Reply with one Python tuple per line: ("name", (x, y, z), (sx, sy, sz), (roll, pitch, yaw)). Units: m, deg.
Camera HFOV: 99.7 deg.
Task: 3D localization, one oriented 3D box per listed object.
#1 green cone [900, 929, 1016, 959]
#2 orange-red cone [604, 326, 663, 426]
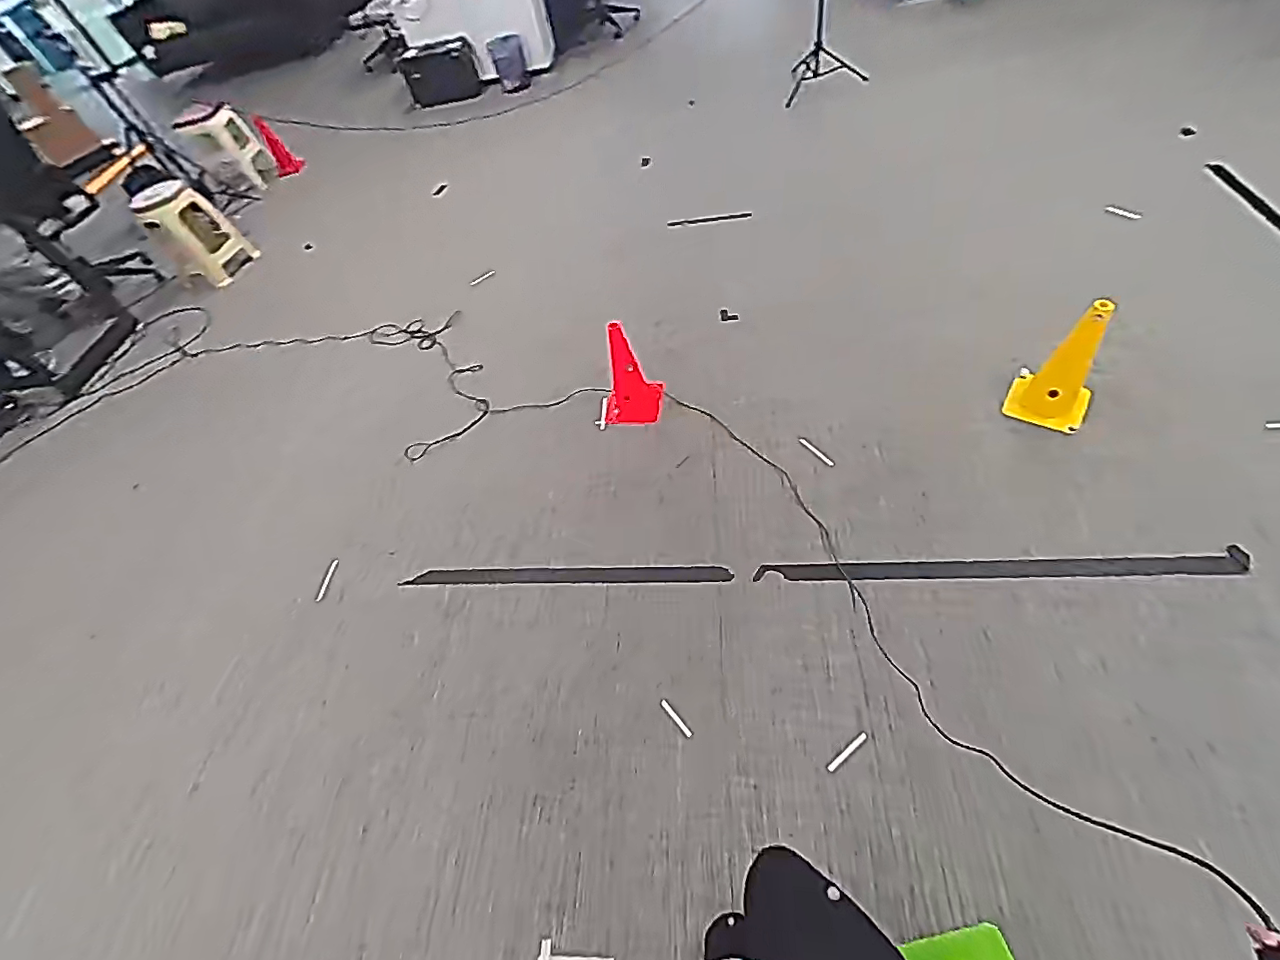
("green cone", (0.558, 0.832, 0.813), (0.202, 0.368, 0.200), (-17, 52, 2))
("orange-red cone", (-0.051, -0.371, 1.831), (0.199, 0.360, 0.198), (3, 56, 14))
